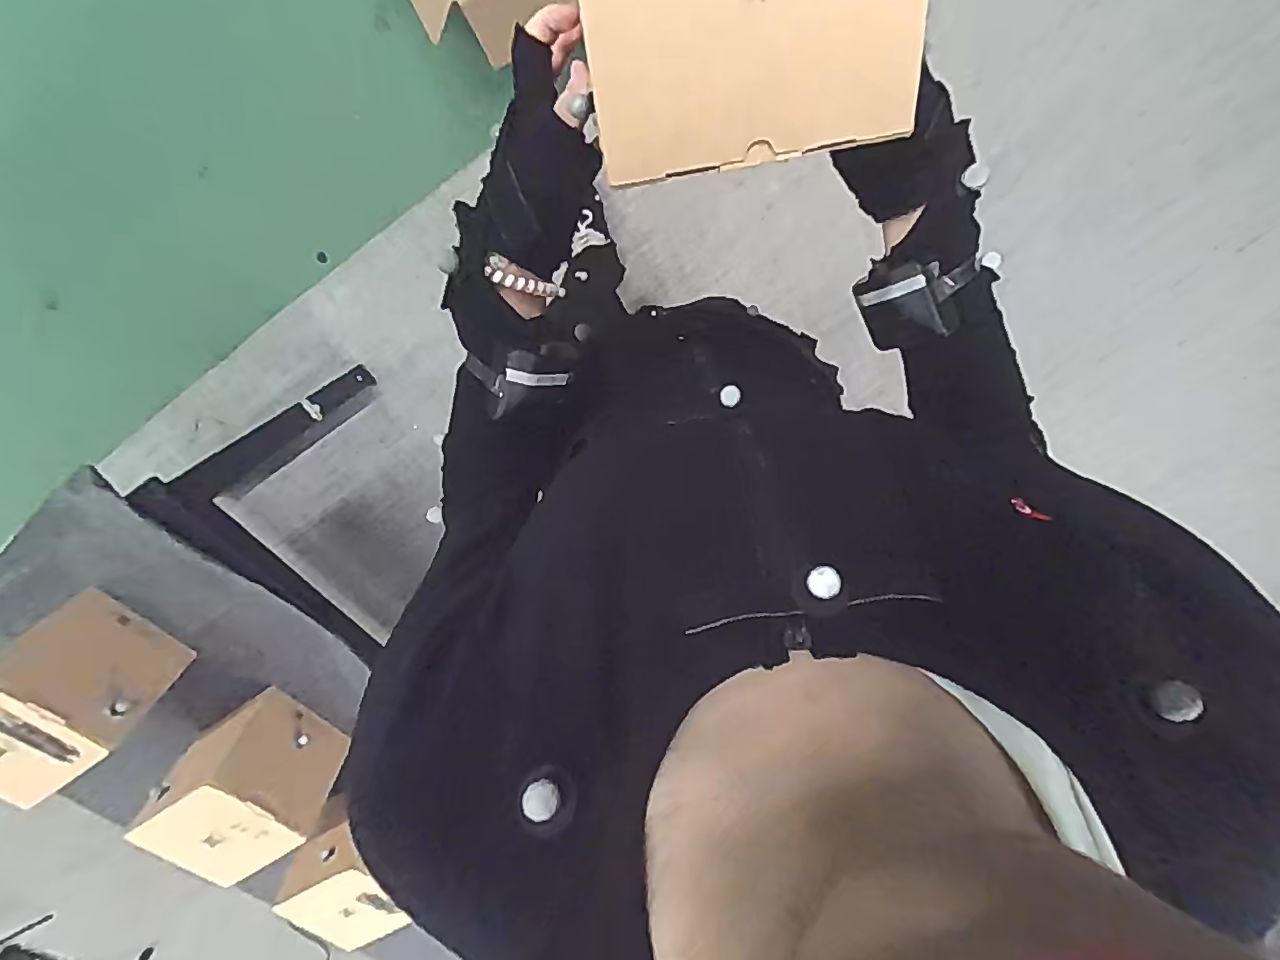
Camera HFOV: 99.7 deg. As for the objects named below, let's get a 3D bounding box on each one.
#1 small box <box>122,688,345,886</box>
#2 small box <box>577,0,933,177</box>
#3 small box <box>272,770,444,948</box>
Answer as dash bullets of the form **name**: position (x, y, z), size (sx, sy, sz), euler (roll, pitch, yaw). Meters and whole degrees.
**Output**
- **small box**: position (-0.591, 0.456, 0.816), size (0.179, 0.176, 0.168), euler (-33, 114, 10)
- **small box**: position (0.046, -0.290, 0.303), size (0.168, 0.176, 0.179), euler (-10, 126, 2)
- **small box**: position (-0.457, 0.633, 0.915), size (0.179, 0.176, 0.168), euler (-31, 114, 10)
